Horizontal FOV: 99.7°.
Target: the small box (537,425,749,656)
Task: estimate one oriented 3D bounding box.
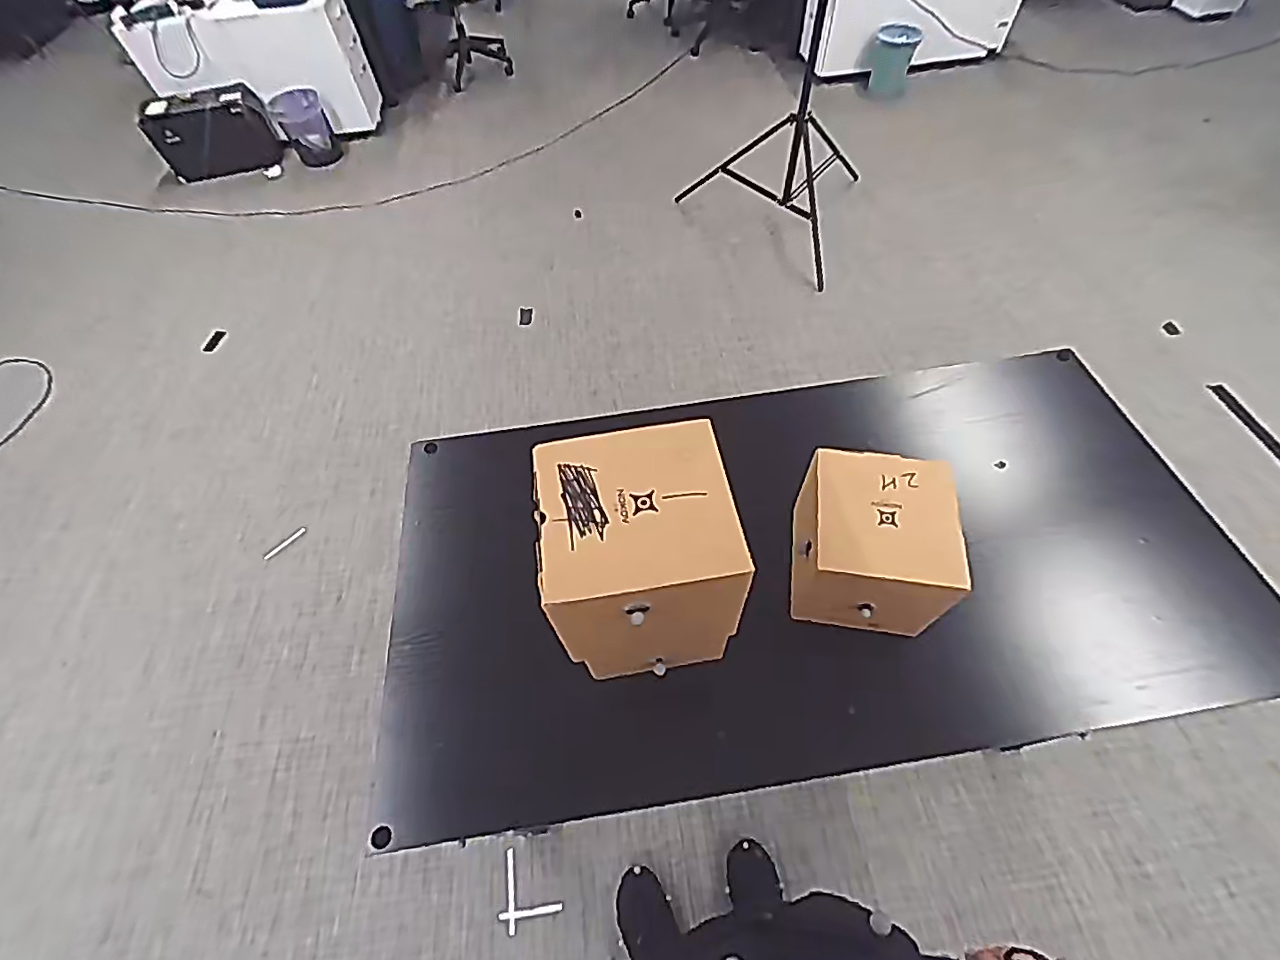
[{"bbox_3d":[0.000,0.069,0.557,0.179,0.176,0.168,-9,57,-3],"label":"small box"}]

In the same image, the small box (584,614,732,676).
[{"bbox_3d":[0.009,0.143,0.705,0.179,0.176,0.168,-9,56,-3],"label":"small box"}]

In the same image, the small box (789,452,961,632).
[{"bbox_3d":[0.298,0.088,0.723,0.168,0.176,0.179,7,57,8],"label":"small box"}]
